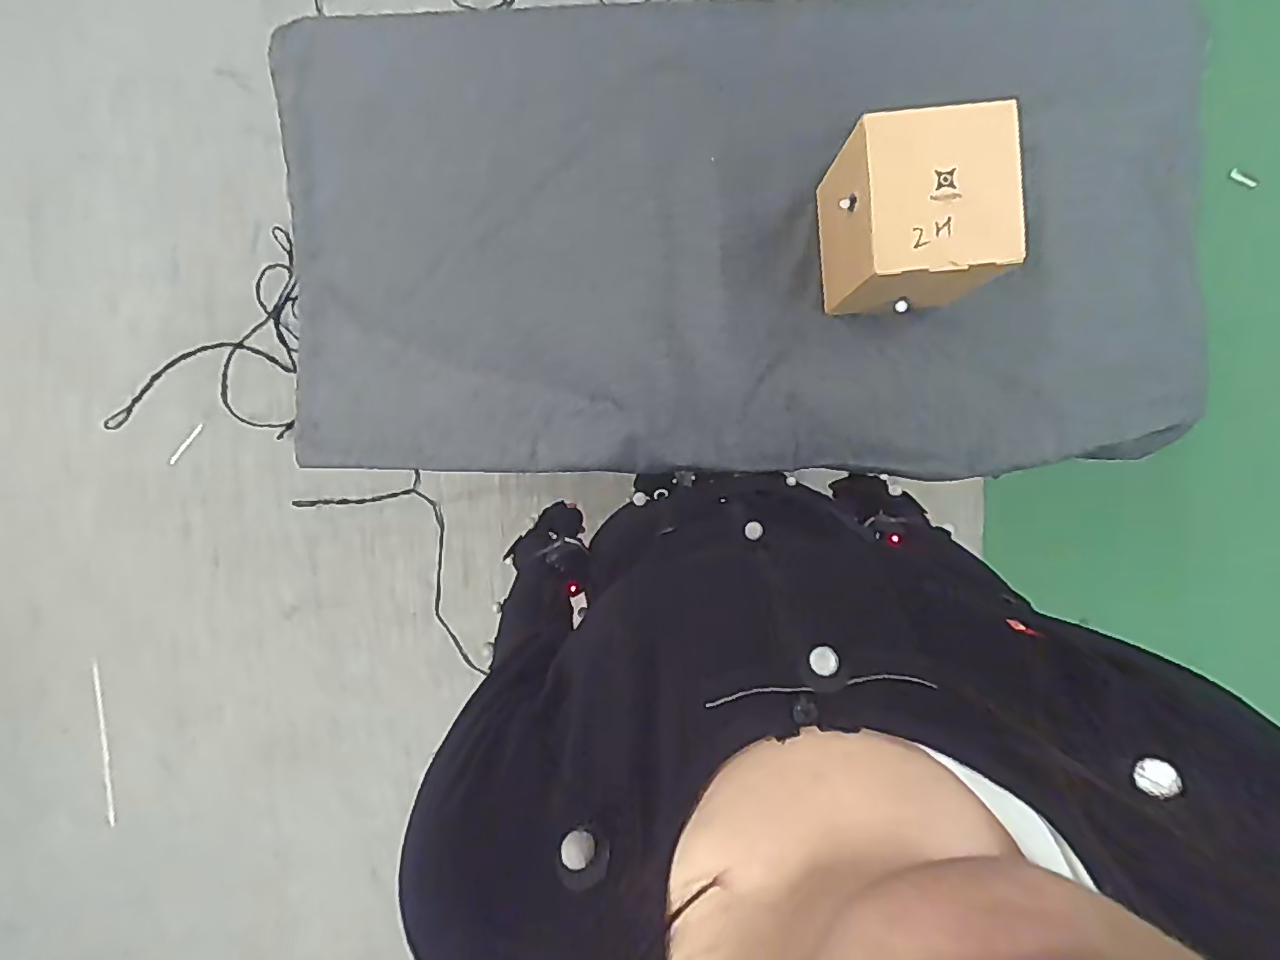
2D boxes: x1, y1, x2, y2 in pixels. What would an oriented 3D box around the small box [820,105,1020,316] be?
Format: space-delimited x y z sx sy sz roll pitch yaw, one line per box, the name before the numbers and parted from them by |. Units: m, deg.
small box | 0.332 -0.319 0.672 0.168 0.176 0.179 -4 92 2
